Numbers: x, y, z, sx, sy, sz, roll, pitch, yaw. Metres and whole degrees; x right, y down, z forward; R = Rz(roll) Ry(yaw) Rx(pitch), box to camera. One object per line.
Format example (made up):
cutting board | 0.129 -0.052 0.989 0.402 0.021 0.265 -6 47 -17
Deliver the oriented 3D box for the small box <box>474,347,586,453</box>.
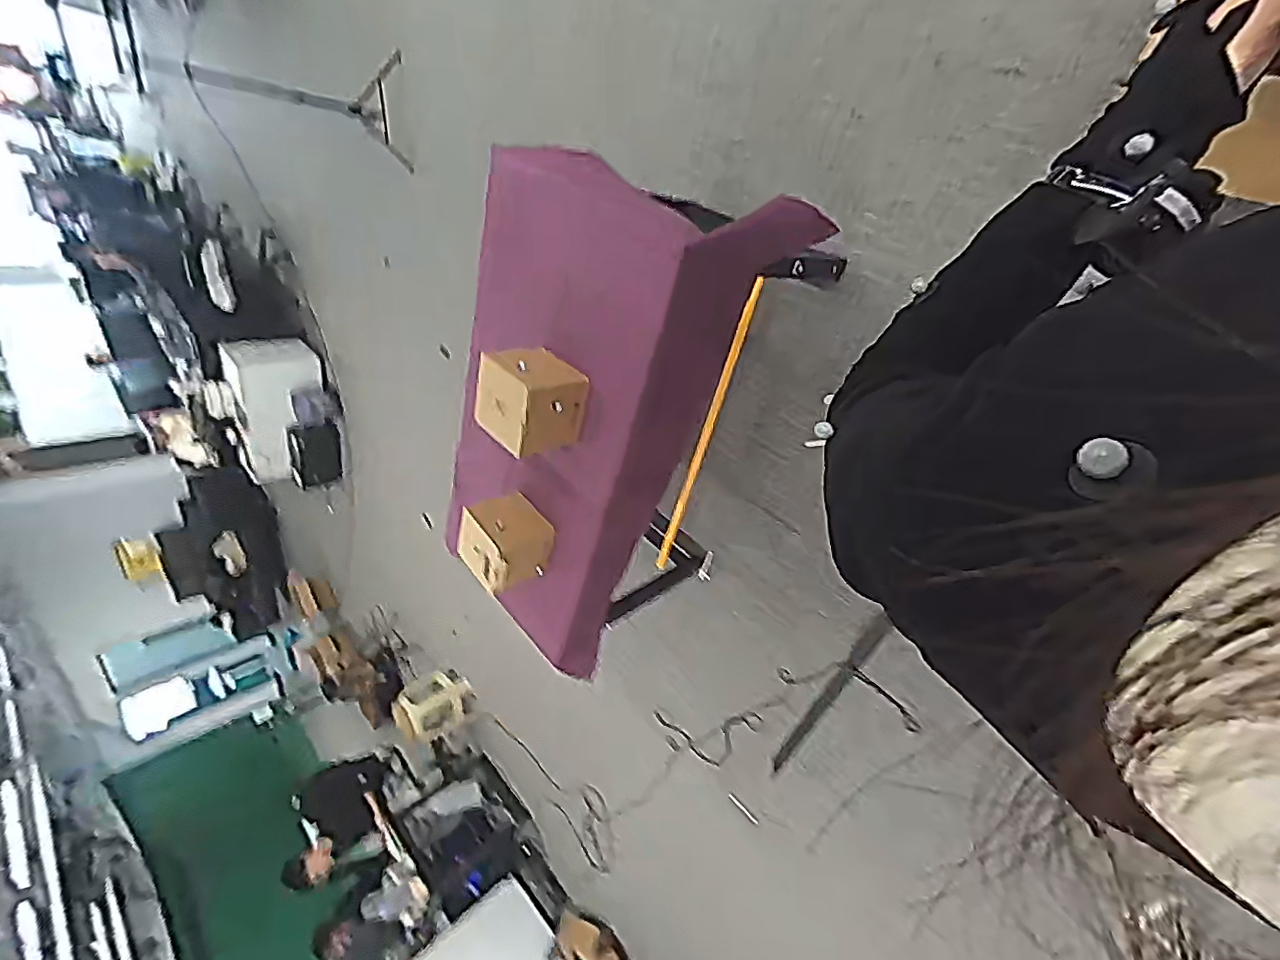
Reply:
small box | -0.243 -0.187 1.198 0.179 0.176 0.168 38 127 29

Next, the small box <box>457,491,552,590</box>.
small box | -0.358 0.150 1.428 0.179 0.176 0.168 42 129 27
